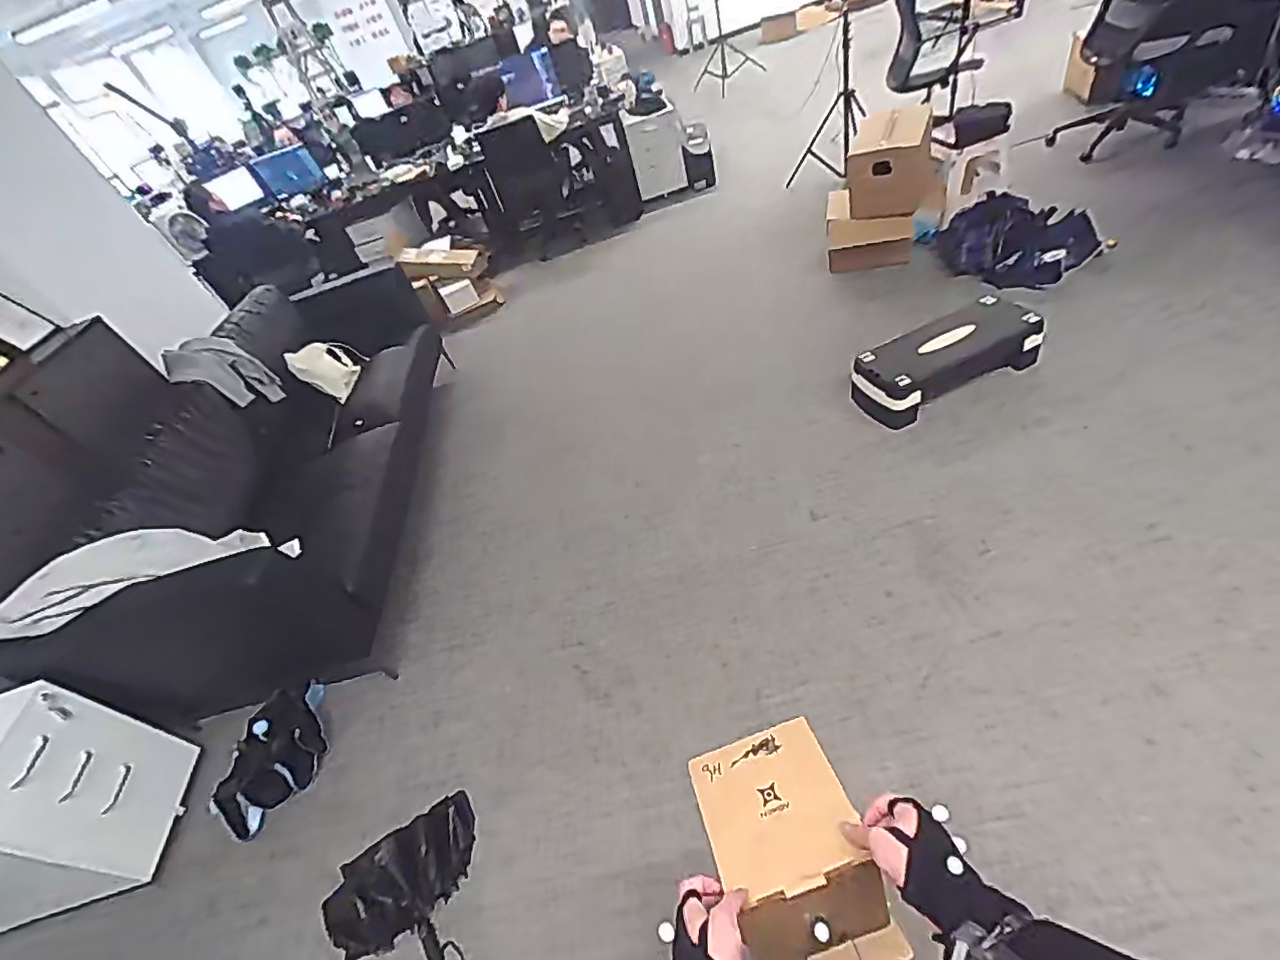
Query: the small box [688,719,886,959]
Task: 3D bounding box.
[{"bbox_3d":[0.177,0.441,0.662,0.168,0.176,0.179,-22,29,1],"label":"small box"}]
